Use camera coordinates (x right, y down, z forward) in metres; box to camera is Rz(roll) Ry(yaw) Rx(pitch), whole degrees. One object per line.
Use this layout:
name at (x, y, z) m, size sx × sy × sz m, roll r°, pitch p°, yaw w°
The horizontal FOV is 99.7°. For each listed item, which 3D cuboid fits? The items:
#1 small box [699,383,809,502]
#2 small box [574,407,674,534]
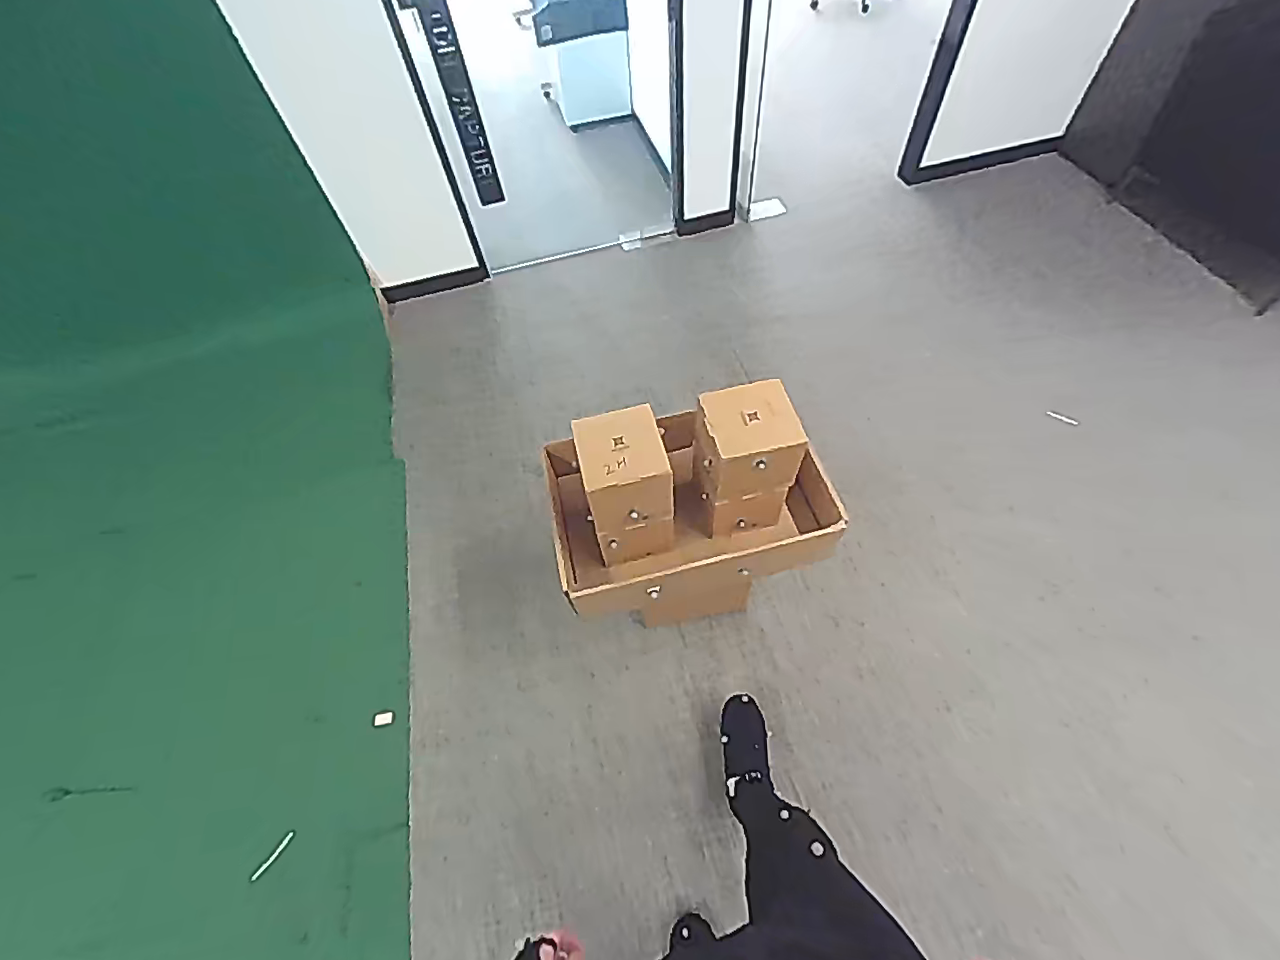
small box at (0.223, -0.072, 1.117) m, size 0.179 × 0.176 × 0.168 m, roll -11°, pitch 58°, yaw -4°
small box at (-0.032, -0.017, 1.095) m, size 0.168 × 0.176 × 0.179 m, roll -13°, pitch 57°, yaw -4°
